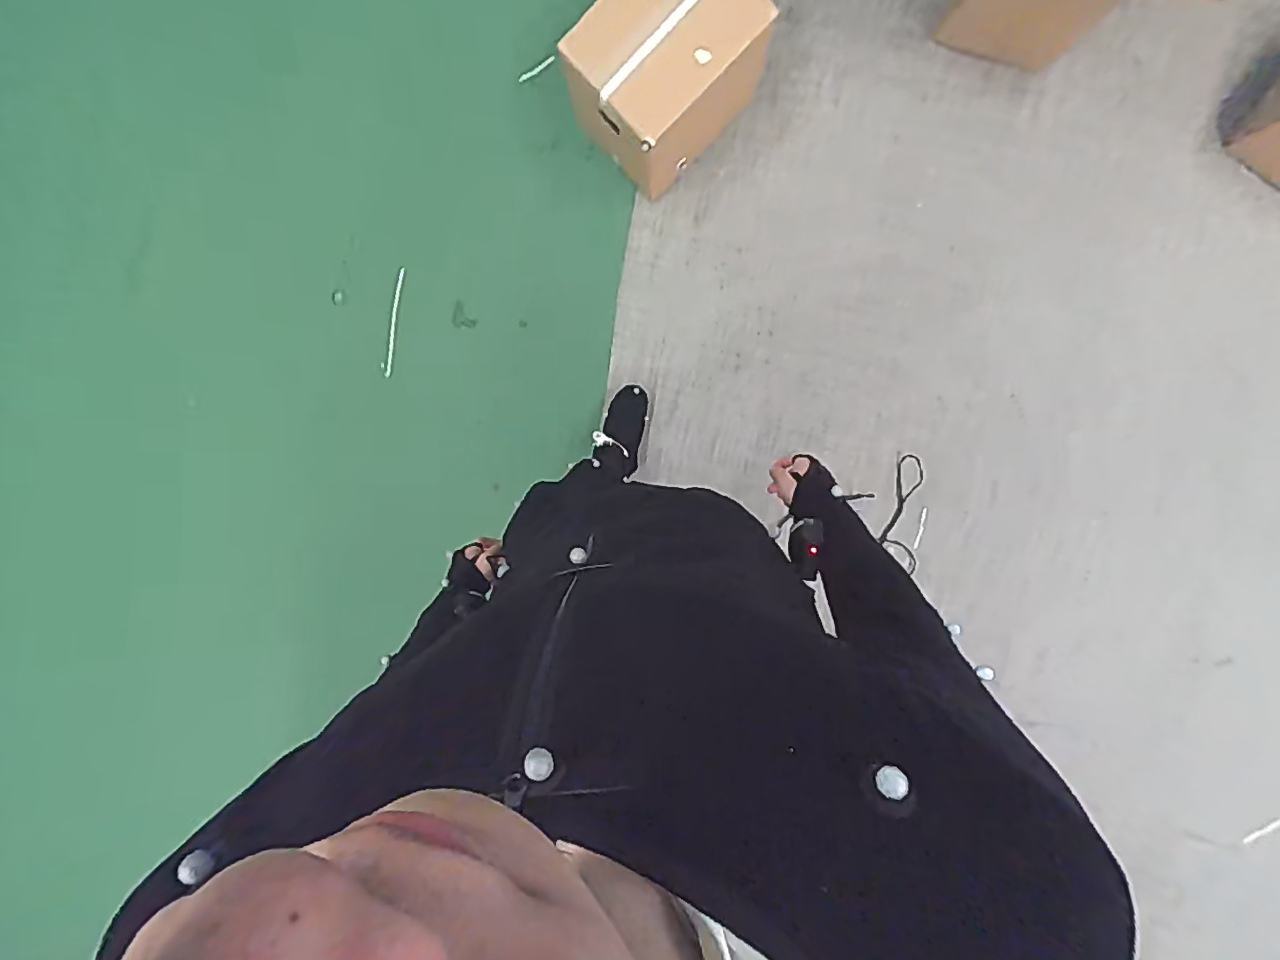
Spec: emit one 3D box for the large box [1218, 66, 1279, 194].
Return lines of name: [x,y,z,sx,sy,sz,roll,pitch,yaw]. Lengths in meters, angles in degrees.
large box: [1.794,-0.890,1.298,0.408,0.320,0.320,34,96,0]
